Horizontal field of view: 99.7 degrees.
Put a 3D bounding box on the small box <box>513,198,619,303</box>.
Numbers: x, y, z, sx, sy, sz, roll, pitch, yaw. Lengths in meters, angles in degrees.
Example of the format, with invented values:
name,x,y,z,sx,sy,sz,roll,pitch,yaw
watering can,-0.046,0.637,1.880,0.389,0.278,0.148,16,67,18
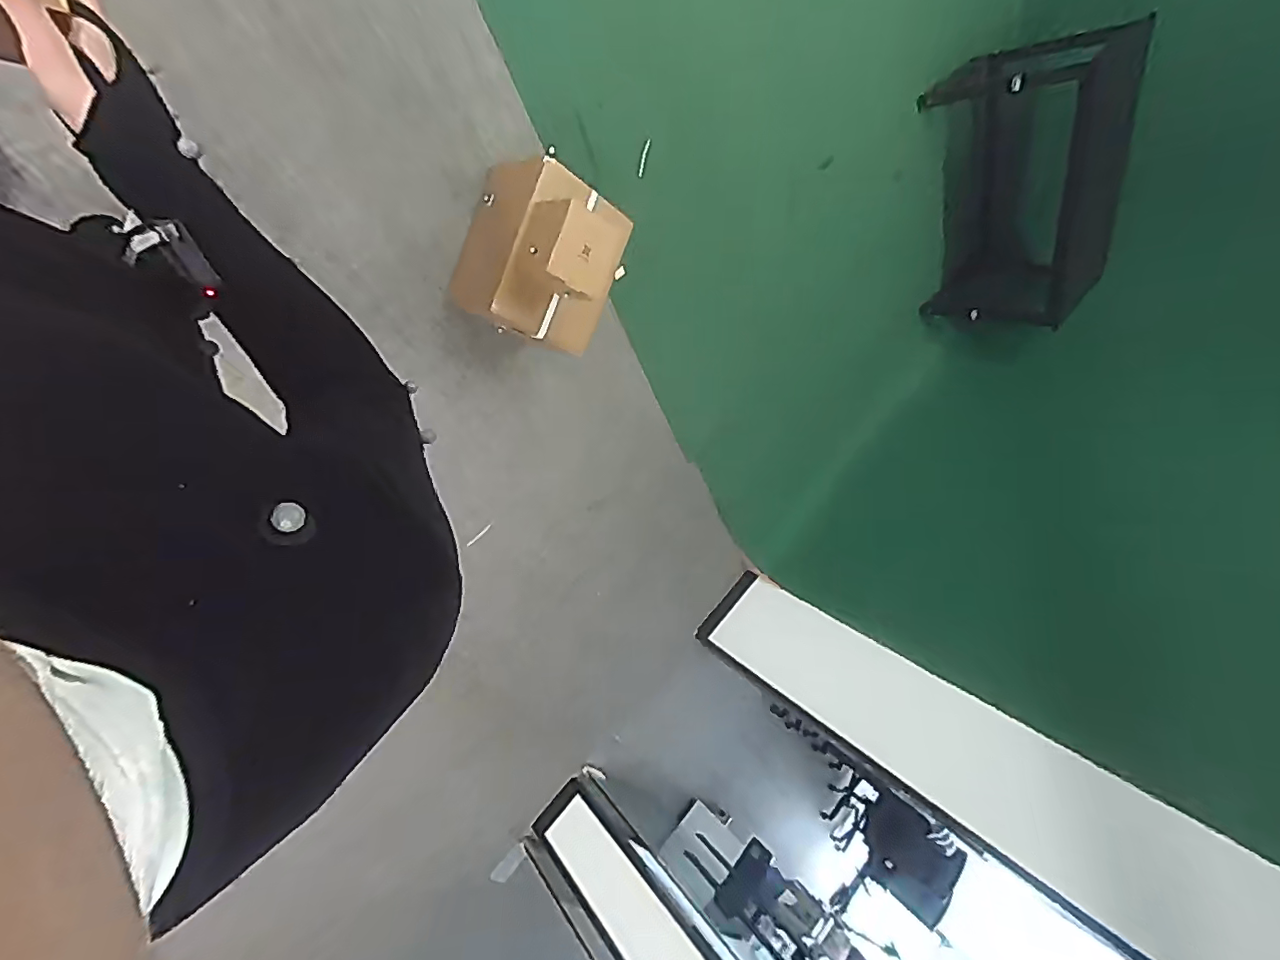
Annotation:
name,x,y,z,sx,sy,sz,roll,pitch,yaw
small box,-0.187,-0.558,1.325,0.168,0.176,0.179,18,96,-45

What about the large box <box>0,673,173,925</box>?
name,x,y,z,sx,sy,sz,roll,pitch,yaw
large box,-1.354,0.715,1.209,0.408,0.320,0.320,-17,121,-38

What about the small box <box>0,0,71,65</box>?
name,x,y,z,sx,sy,sz,roll,pitch,yaw
small box,-0.525,-0.415,0.363,0.179,0.176,0.168,-13,114,-41
